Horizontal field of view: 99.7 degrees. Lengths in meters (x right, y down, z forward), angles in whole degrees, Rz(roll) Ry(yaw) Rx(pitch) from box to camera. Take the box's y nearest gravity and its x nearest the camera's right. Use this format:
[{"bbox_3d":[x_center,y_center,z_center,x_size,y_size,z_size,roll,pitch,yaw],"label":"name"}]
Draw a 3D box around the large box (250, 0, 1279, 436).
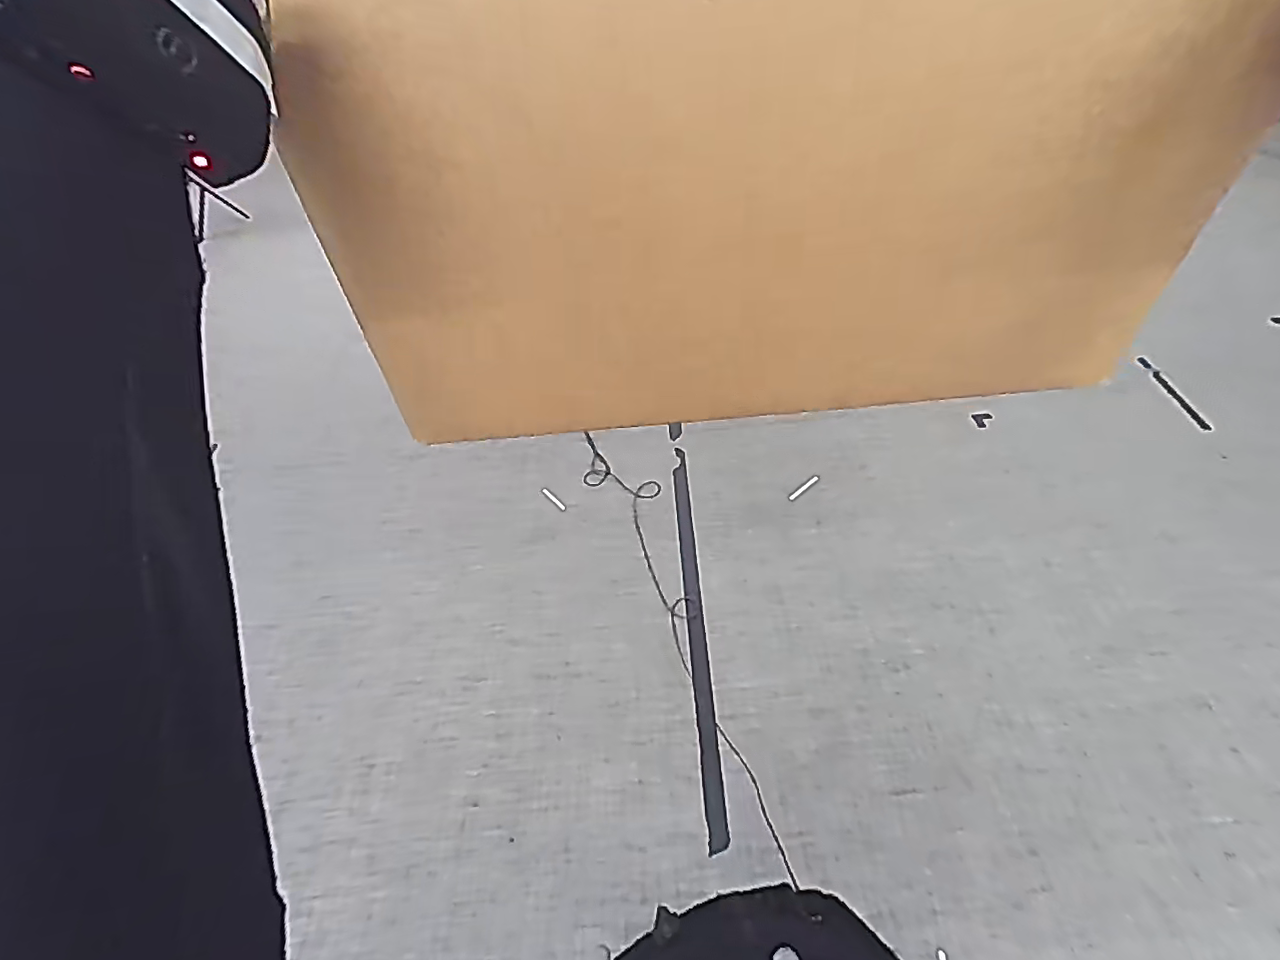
[{"bbox_3d":[0.048,-0.252,0.329,0.408,0.320,0.320,-5,45,-2],"label":"large box"}]
